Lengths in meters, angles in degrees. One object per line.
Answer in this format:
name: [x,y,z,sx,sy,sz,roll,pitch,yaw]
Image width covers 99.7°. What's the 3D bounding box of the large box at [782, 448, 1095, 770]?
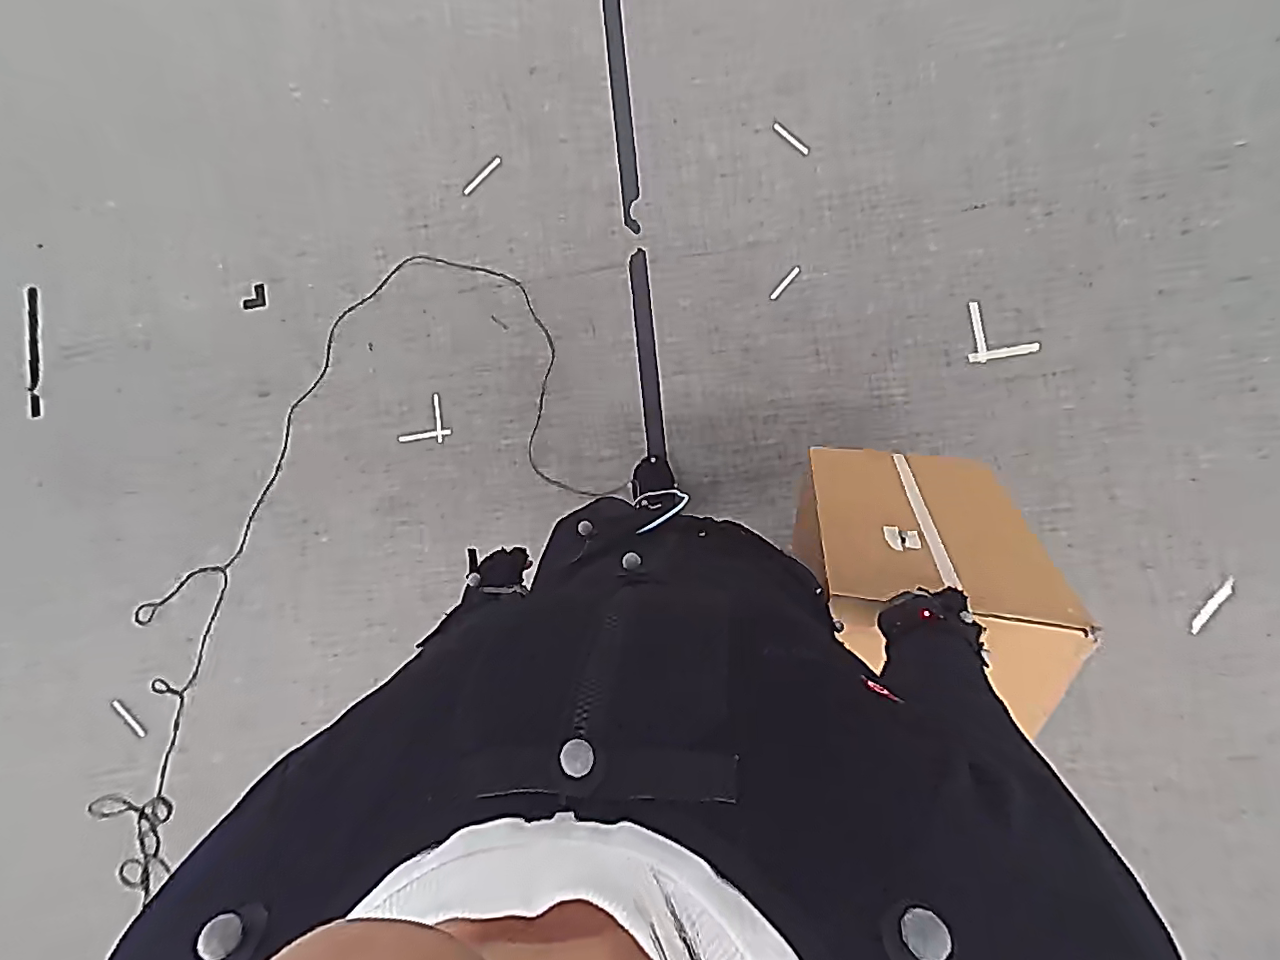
large box: [0.426,0.188,0.910,0.320,0.408,0.320,6,124,9]
